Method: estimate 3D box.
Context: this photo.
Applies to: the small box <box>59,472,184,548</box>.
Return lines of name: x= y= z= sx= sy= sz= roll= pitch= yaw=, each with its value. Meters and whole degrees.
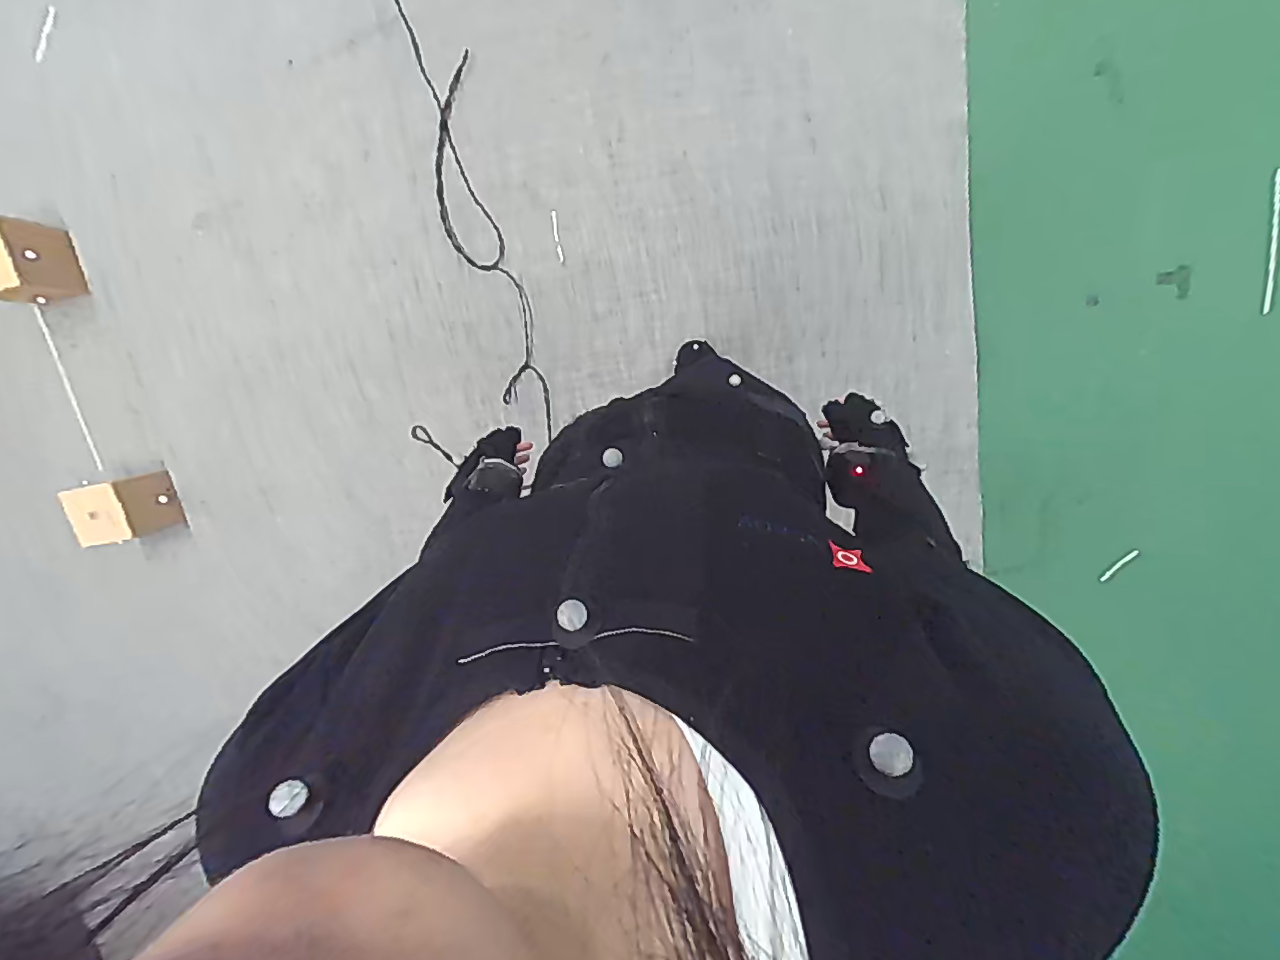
small box: x=-1.493 y=0.083 z=1.568 sx=0.179 sy=0.176 sz=0.168 roll=-10 pitch=103 yaw=7

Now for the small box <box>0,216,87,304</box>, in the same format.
small box: x=-1.637 y=-0.571 z=1.419 sx=0.168 sy=0.176 sz=0.179 roll=-9 pitch=103 yaw=7
